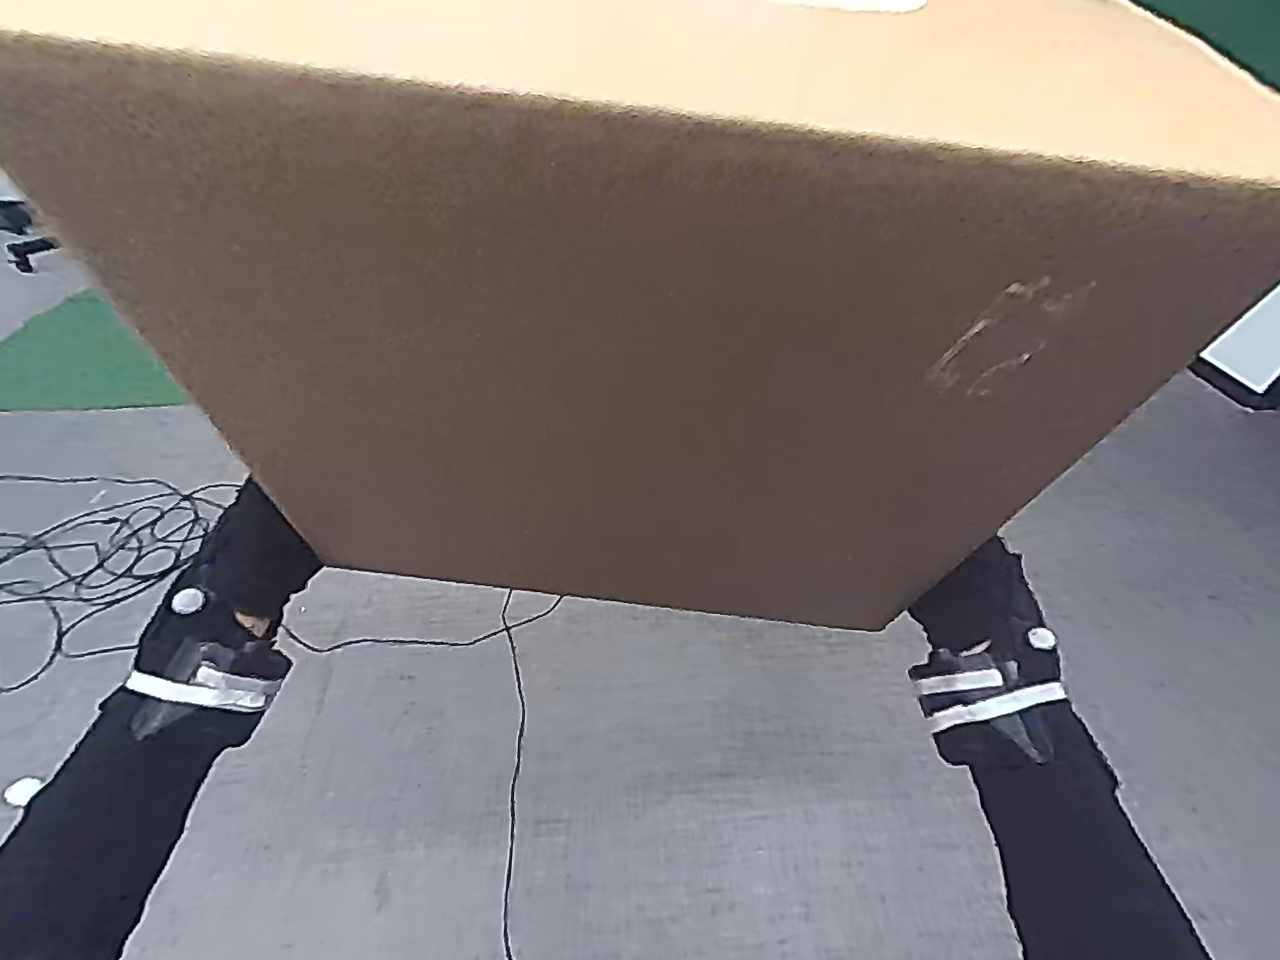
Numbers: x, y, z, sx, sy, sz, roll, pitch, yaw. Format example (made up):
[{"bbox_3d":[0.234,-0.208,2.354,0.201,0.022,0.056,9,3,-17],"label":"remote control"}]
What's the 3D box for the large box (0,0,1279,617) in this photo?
[{"bbox_3d":[0.011,-0.127,0.364,0.408,0.320,0.320,7,53,-2],"label":"large box"}]
